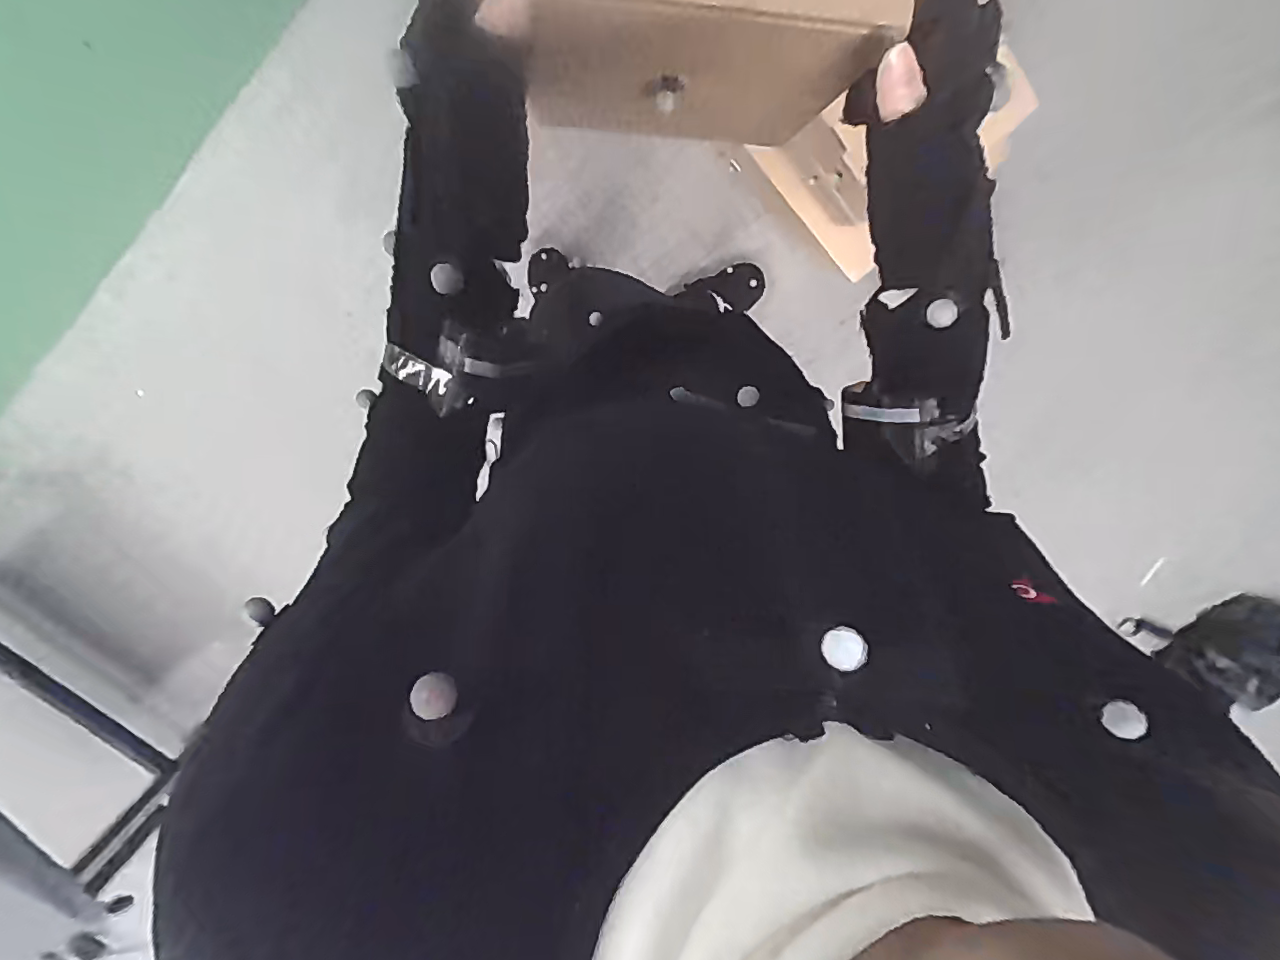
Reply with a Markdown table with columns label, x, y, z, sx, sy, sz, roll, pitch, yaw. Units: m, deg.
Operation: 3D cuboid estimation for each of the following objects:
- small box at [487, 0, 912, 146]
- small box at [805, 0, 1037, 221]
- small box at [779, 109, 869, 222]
| label | x | y | z | sx | sy | sz | roll | pitch | yaw |
| --- | --- | --- | --- | --- | --- | --- | --- | --- | --- |
| small box | 0.019 | -0.284 | 0.270 | 0.179 | 0.176 | 0.168 | -2 | 108 | -4 |
| small box | 0.319 | -0.444 | 0.658 | 0.179 | 0.176 | 0.168 | -37 | 107 | 22 |
| small box | 0.329 | -0.513 | 0.806 | 0.168 | 0.176 | 0.179 | -37 | 108 | 22 |
